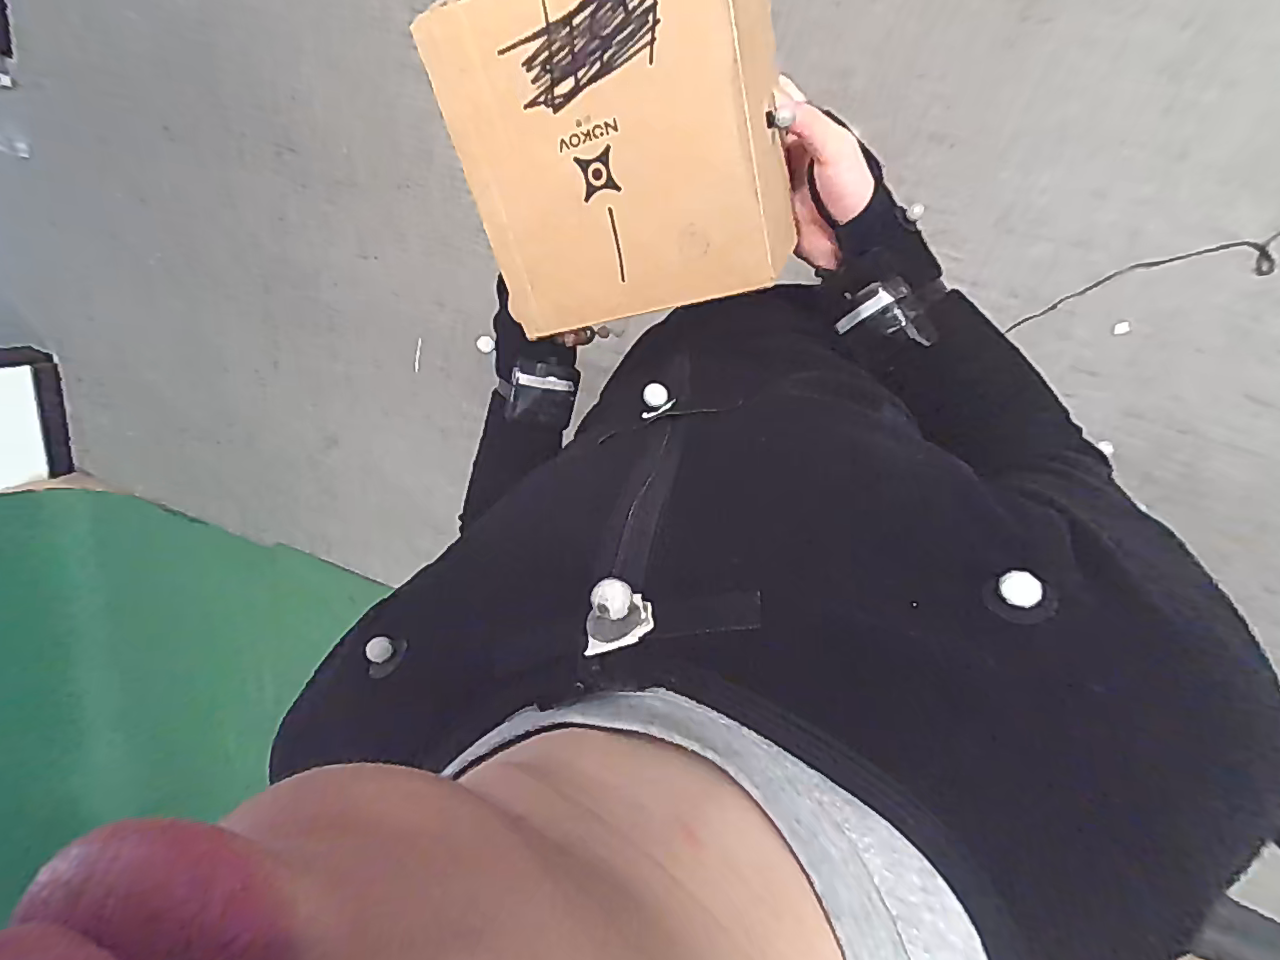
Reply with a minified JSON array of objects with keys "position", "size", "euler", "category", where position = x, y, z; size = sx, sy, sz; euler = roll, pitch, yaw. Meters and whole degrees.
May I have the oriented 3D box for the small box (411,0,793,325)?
[{"position":[0.000,-0.221,0.350],"size":[0.168,0.176,0.179],"euler":[-3,120,24],"category":"small box"}]
